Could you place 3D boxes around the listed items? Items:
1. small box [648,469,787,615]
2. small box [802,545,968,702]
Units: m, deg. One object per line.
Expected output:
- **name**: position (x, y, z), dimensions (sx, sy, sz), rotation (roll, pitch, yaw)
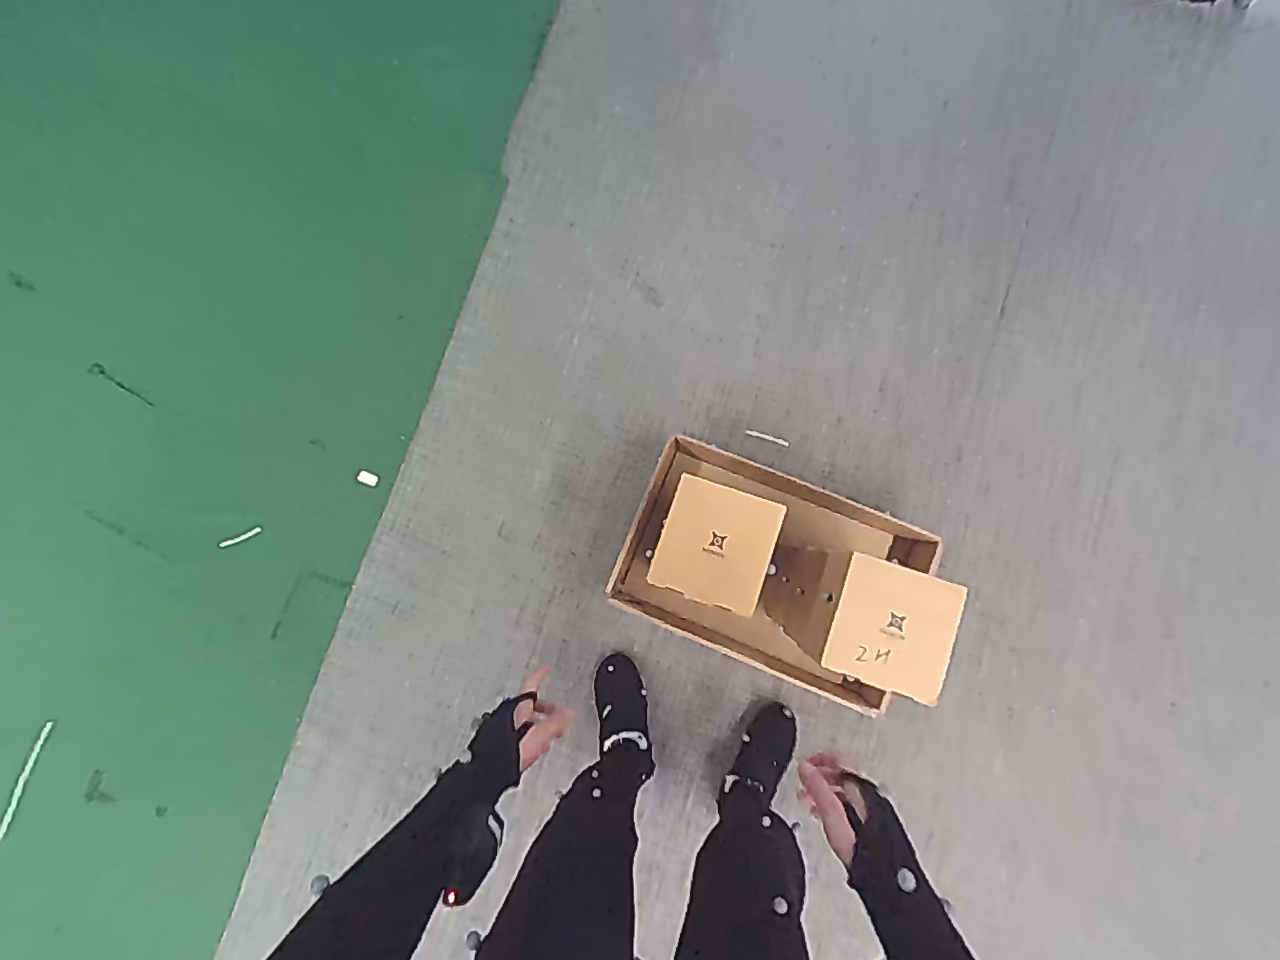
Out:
- **small box**: position (0.119, 0.099, 0.875), dimensions (0.168, 0.176, 0.179), rotation (18, 85, 6)
- **small box**: position (0.365, 0.210, 0.837), dimensions (0.168, 0.176, 0.179), rotation (18, 84, 8)
